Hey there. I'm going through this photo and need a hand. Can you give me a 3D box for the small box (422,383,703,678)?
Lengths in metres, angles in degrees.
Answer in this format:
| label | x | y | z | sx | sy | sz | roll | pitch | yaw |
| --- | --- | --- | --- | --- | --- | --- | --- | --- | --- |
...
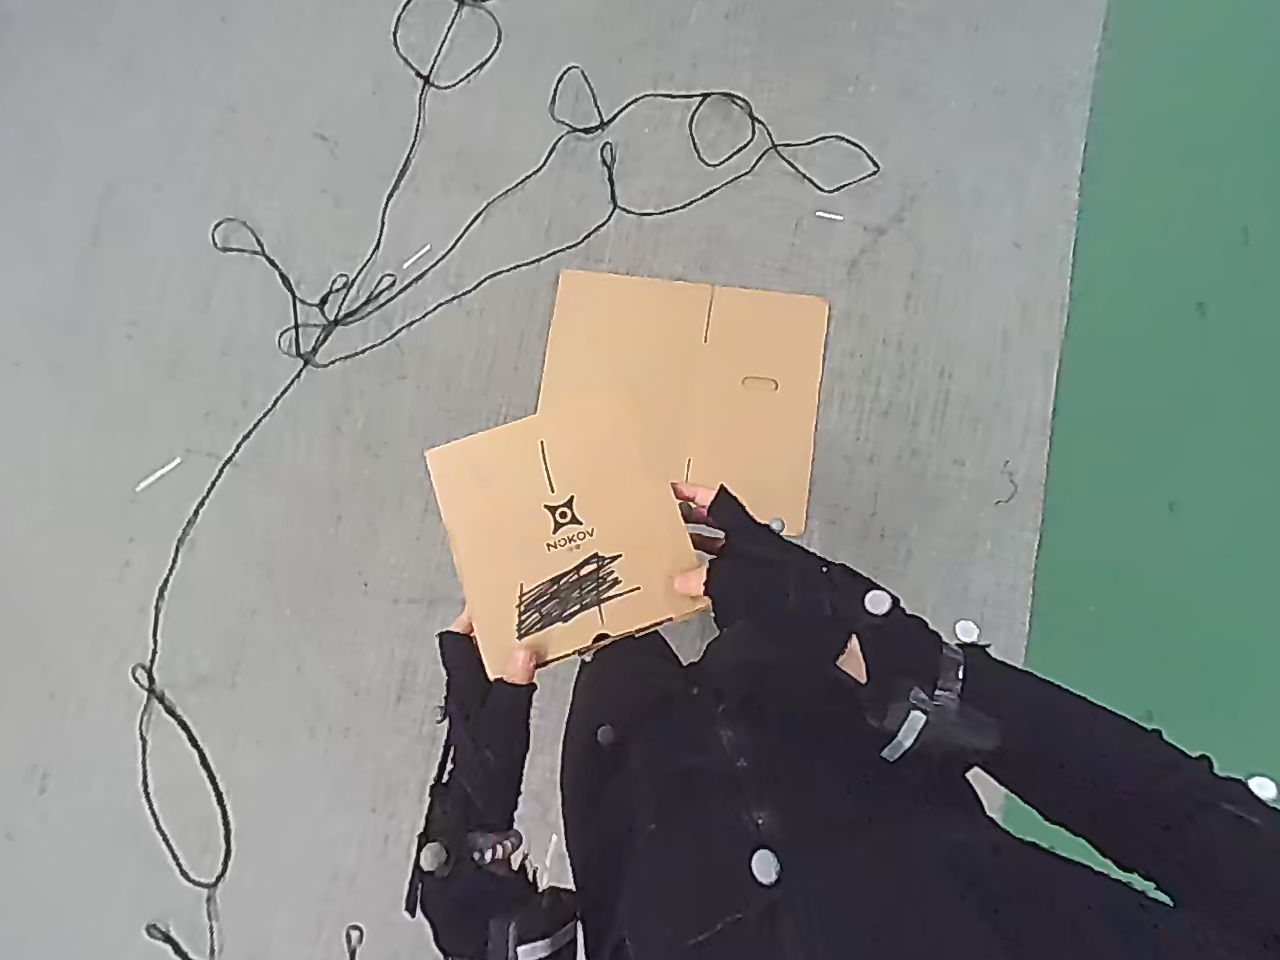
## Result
| label | x | y | z | sx | sy | sz | roll | pitch | yaw |
| --- | --- | --- | --- | --- | --- | --- | --- | --- | --- |
| small box | -0.055 | 0.043 | 0.469 | 0.168 | 0.176 | 0.179 | -20 | 82 | -2 |
